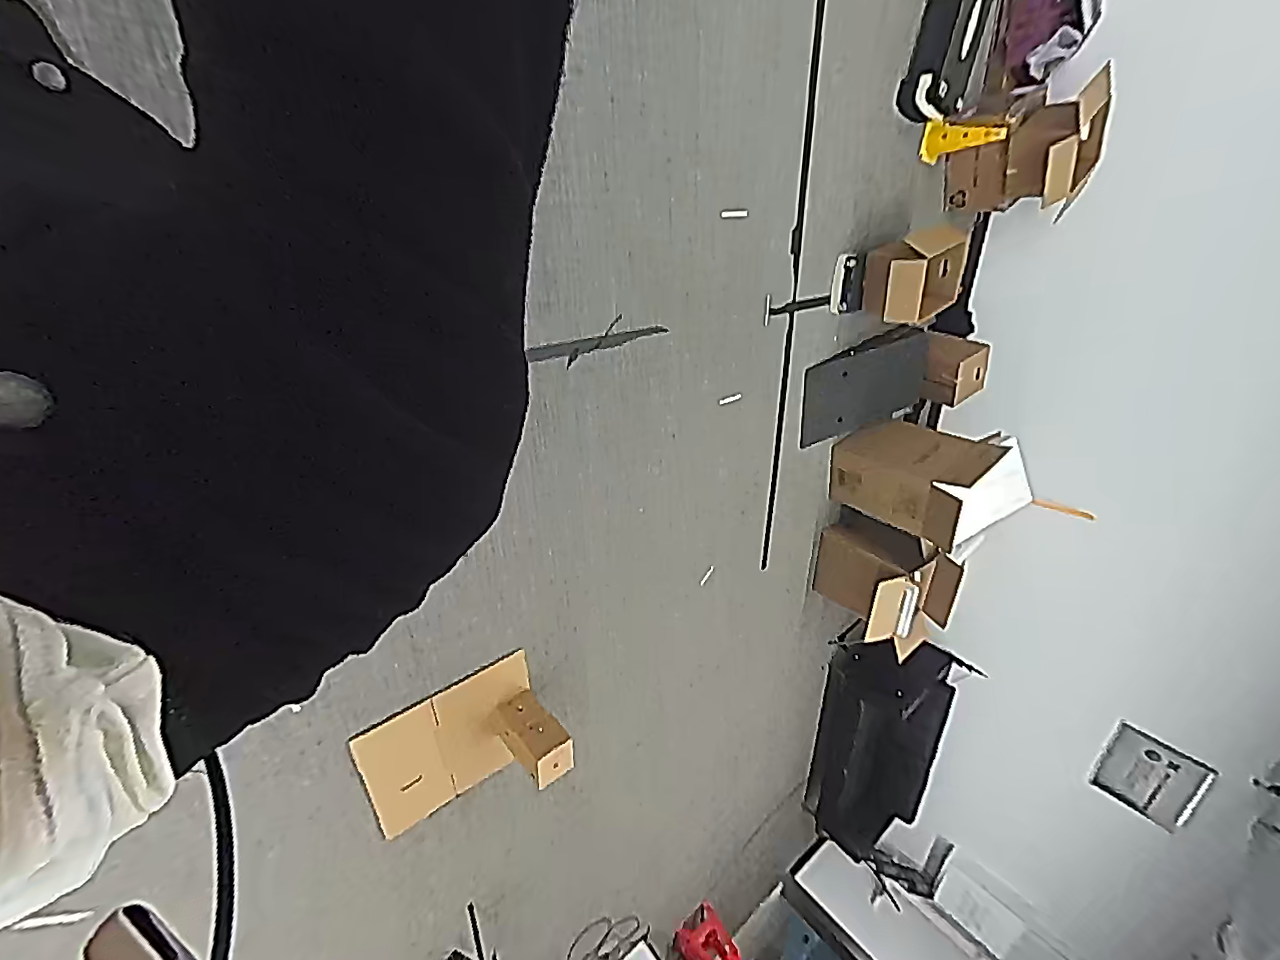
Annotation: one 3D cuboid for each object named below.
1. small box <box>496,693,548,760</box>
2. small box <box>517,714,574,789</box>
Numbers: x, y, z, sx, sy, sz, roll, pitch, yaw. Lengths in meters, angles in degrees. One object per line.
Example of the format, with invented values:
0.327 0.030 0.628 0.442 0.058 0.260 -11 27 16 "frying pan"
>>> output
-0.500 1.042 2.311 0.168 0.176 0.179 -20 122 -36 "small box"
-0.386 1.103 2.207 0.168 0.176 0.179 -19 122 -37 "small box"
